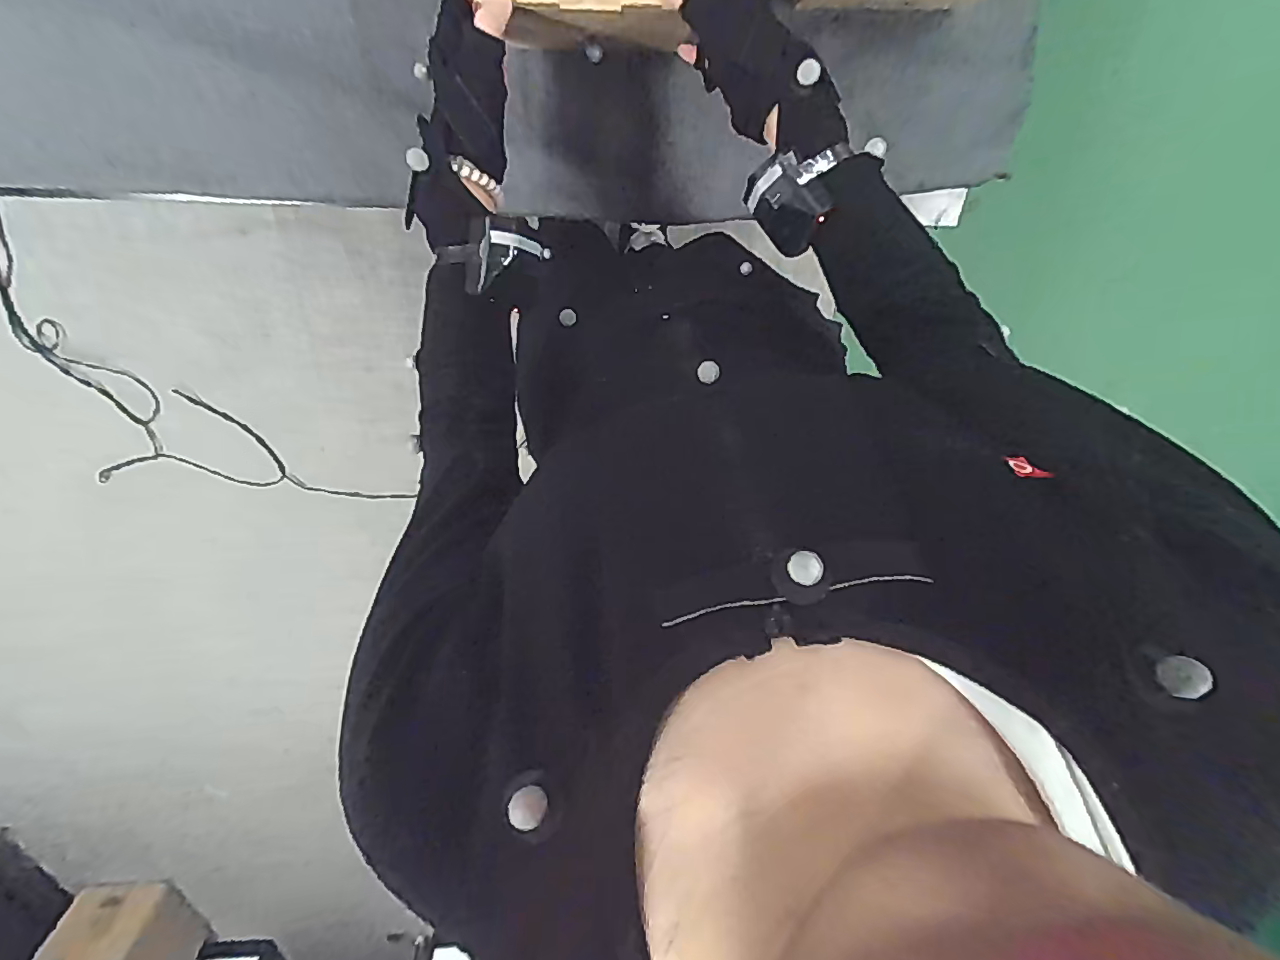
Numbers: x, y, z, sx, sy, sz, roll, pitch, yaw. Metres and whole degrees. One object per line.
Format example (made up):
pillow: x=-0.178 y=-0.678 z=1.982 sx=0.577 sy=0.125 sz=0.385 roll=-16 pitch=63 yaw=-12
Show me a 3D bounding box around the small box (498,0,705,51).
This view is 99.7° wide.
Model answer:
small box: x=-0.035 y=-0.453 z=0.407 sx=0.168 sy=0.176 sz=0.179 roll=-1 pitch=119 yaw=-2
